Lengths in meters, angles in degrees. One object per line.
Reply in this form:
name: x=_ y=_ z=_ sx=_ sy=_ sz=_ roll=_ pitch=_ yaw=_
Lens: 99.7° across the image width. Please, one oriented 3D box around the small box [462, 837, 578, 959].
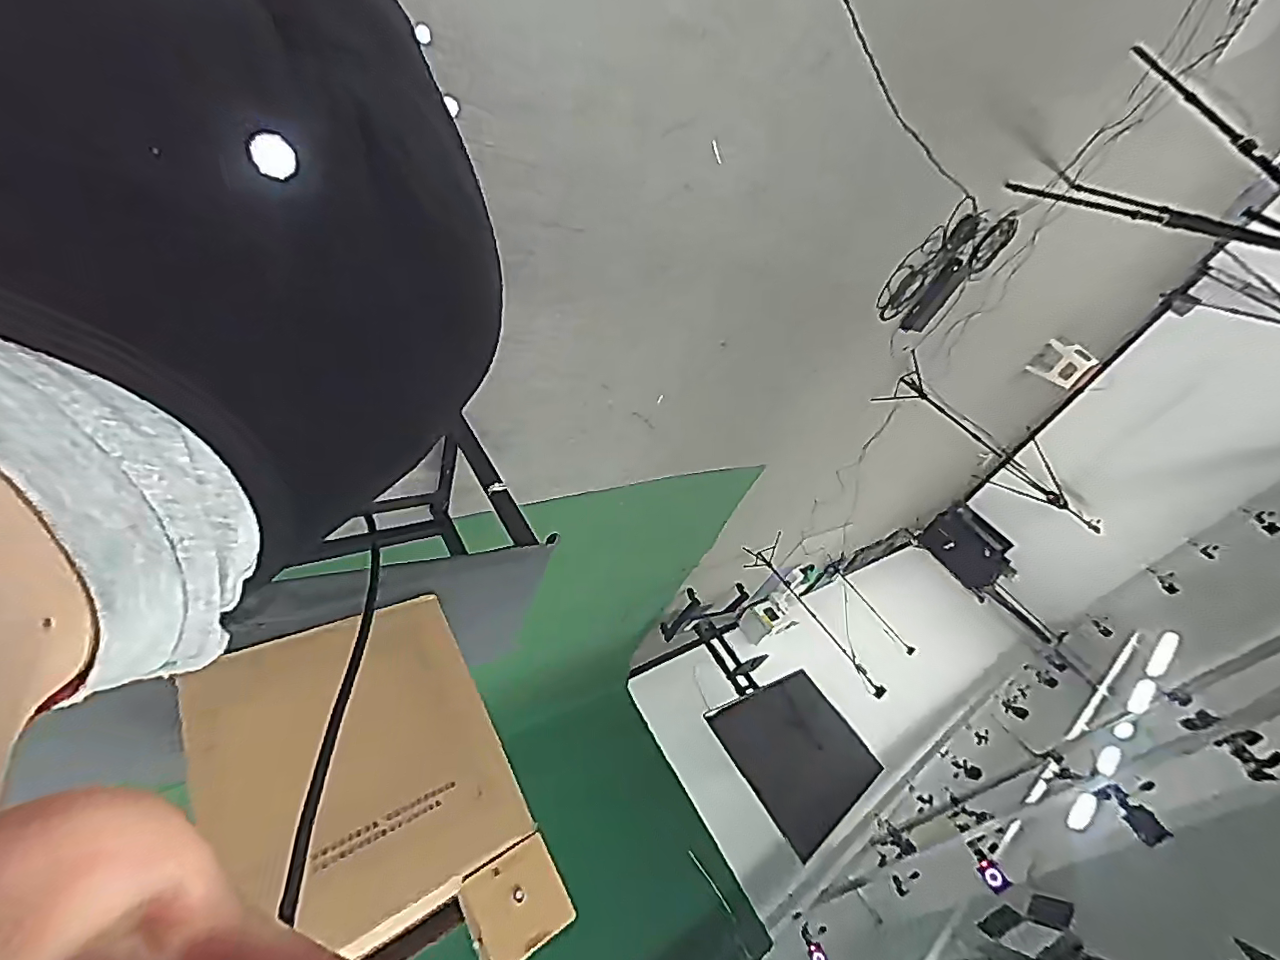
small box: x=-0.249 y=0.867 z=1.098 sx=0.168 sy=0.176 sz=0.179 roll=-16 pitch=143 yaw=-34
